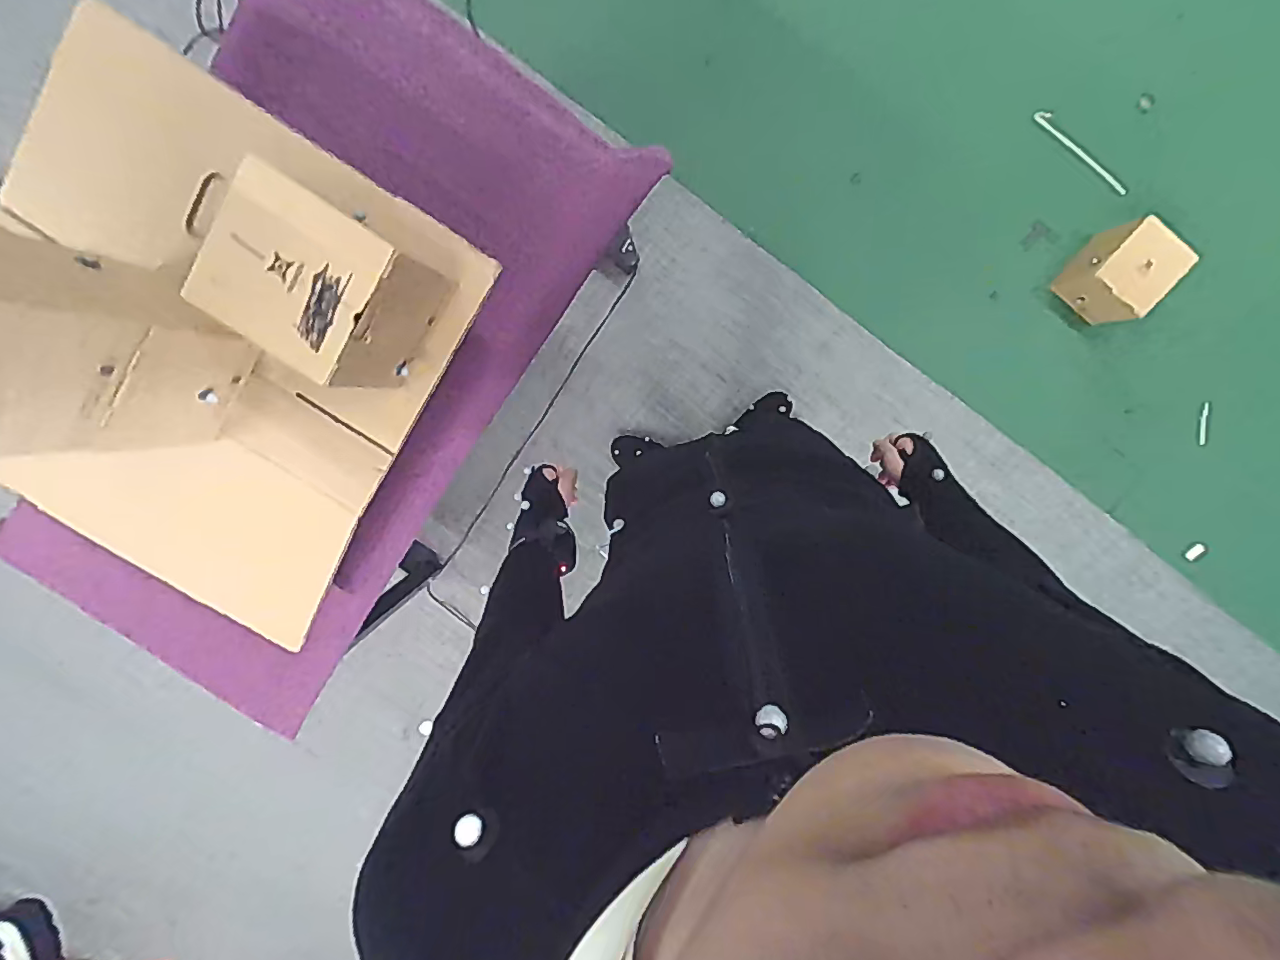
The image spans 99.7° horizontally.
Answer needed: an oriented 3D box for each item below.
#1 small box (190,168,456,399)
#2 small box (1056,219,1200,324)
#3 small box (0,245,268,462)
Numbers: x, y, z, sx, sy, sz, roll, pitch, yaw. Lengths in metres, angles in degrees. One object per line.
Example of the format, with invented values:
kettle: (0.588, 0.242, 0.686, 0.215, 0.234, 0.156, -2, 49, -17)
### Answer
small box: (-0.348, -0.211, 0.631, 0.179, 0.176, 0.168, 33, 99, -2)
small box: (1.225, -0.519, 1.375, 0.168, 0.176, 0.179, 38, 101, -4)
small box: (-0.611, -0.141, 0.651, 0.179, 0.176, 0.168, 34, 98, -3)
